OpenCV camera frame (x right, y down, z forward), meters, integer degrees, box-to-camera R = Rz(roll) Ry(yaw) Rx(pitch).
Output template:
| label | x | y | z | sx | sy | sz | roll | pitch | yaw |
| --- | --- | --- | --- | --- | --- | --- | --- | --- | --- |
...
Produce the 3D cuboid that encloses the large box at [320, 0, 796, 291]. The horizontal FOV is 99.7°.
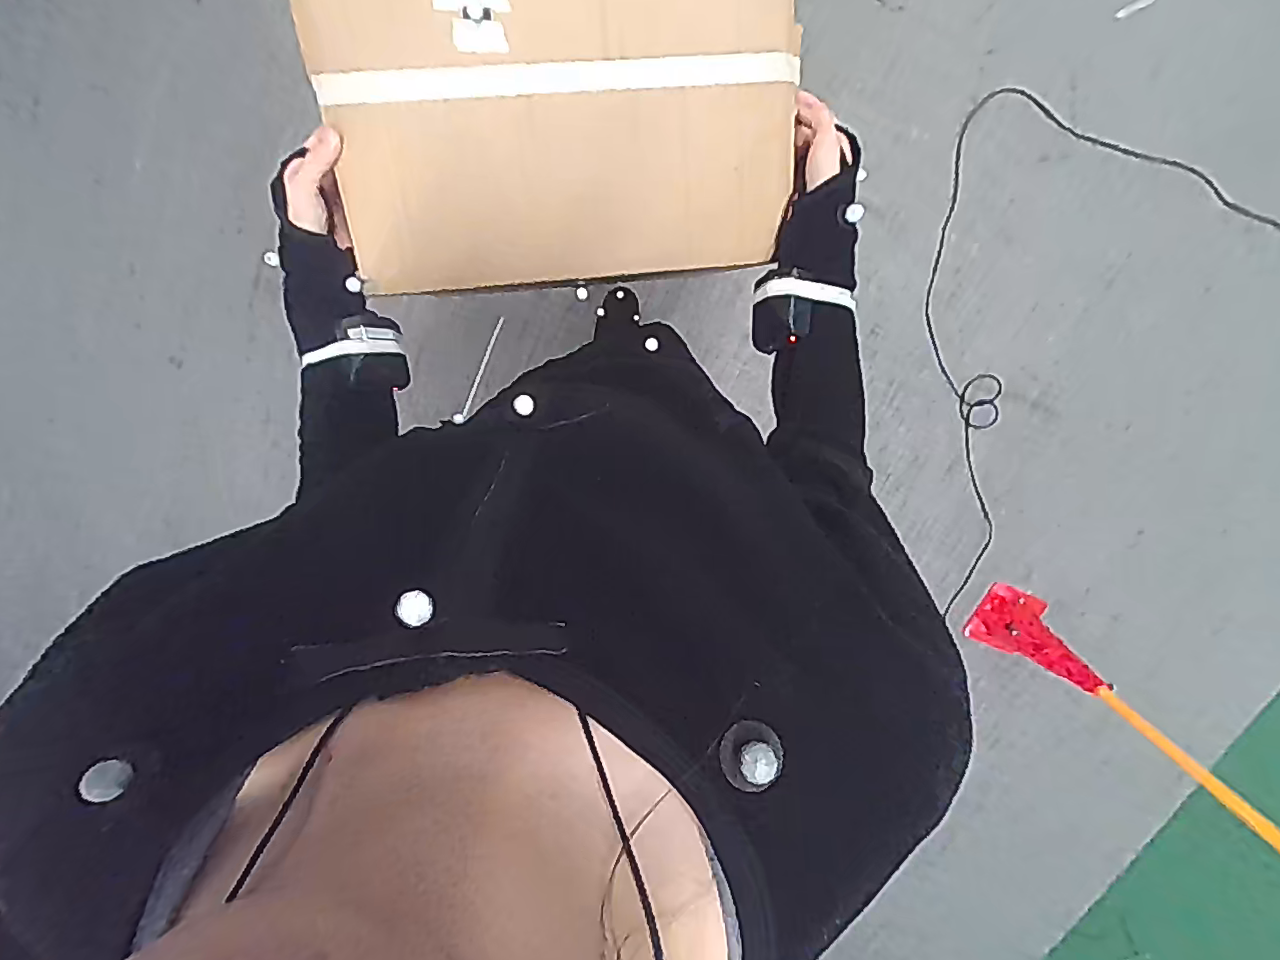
| label | x | y | z | sx | sy | sz | roll | pitch | yaw |
| --- | --- | --- | --- | --- | --- | --- | --- | --- | --- |
| large box | -0.074 | -0.394 | 0.611 | 0.408 | 0.320 | 0.320 | -6 | 109 | -6 |
